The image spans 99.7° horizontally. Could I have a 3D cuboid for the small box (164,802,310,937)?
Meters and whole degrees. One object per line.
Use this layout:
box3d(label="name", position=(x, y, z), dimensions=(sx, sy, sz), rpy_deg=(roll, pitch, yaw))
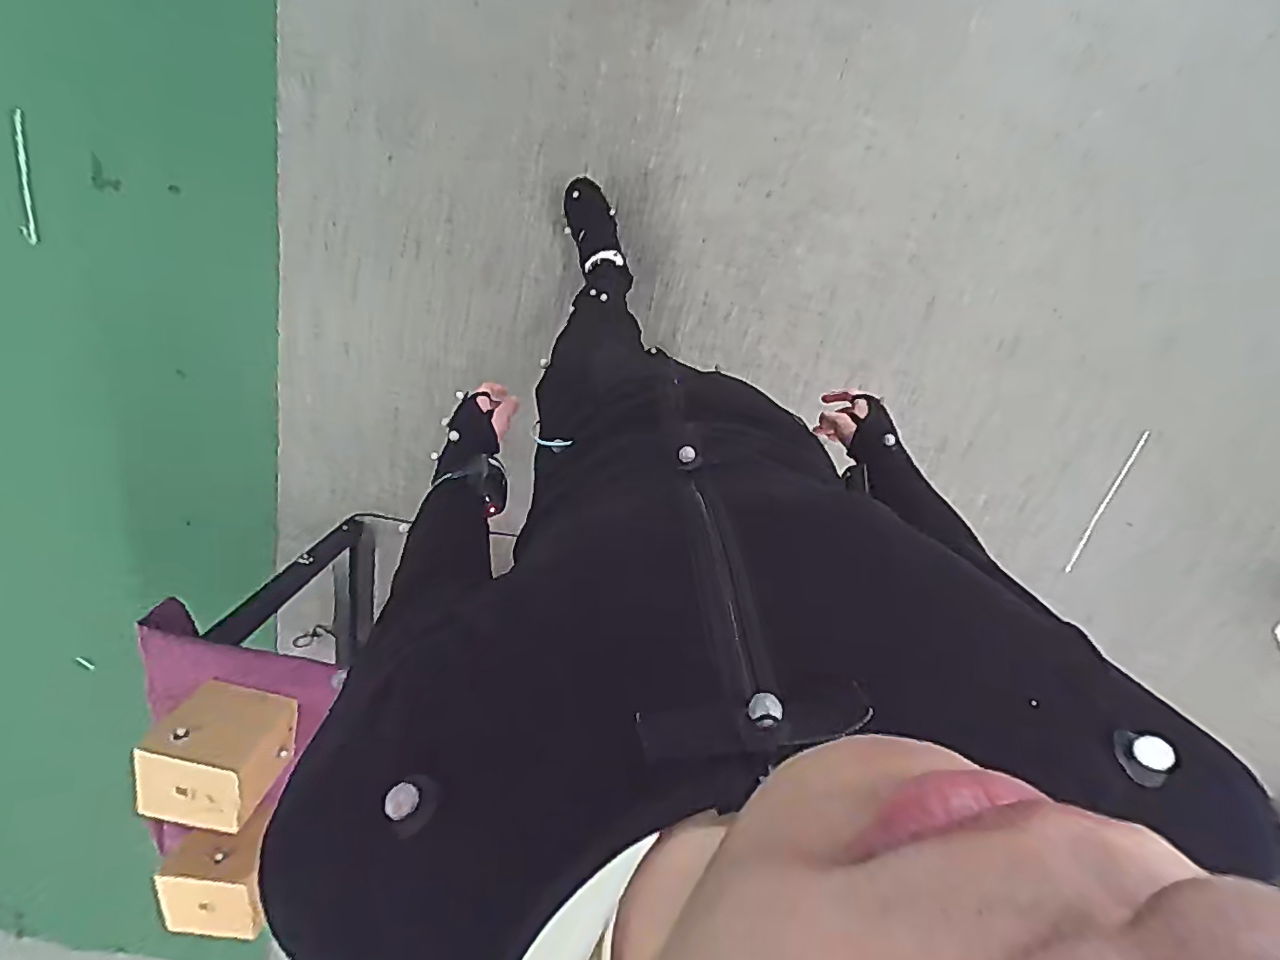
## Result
box3d(label="small box", position=(-0.832, 0.805, 1.134), dimensions=(0.179, 0.176, 0.168), rpy_deg=(7, 110, -2))

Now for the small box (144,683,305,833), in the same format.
box3d(label="small box", position=(-0.773, 0.514, 1.018), dimensions=(0.179, 0.176, 0.168), rpy_deg=(16, 112, -5))
